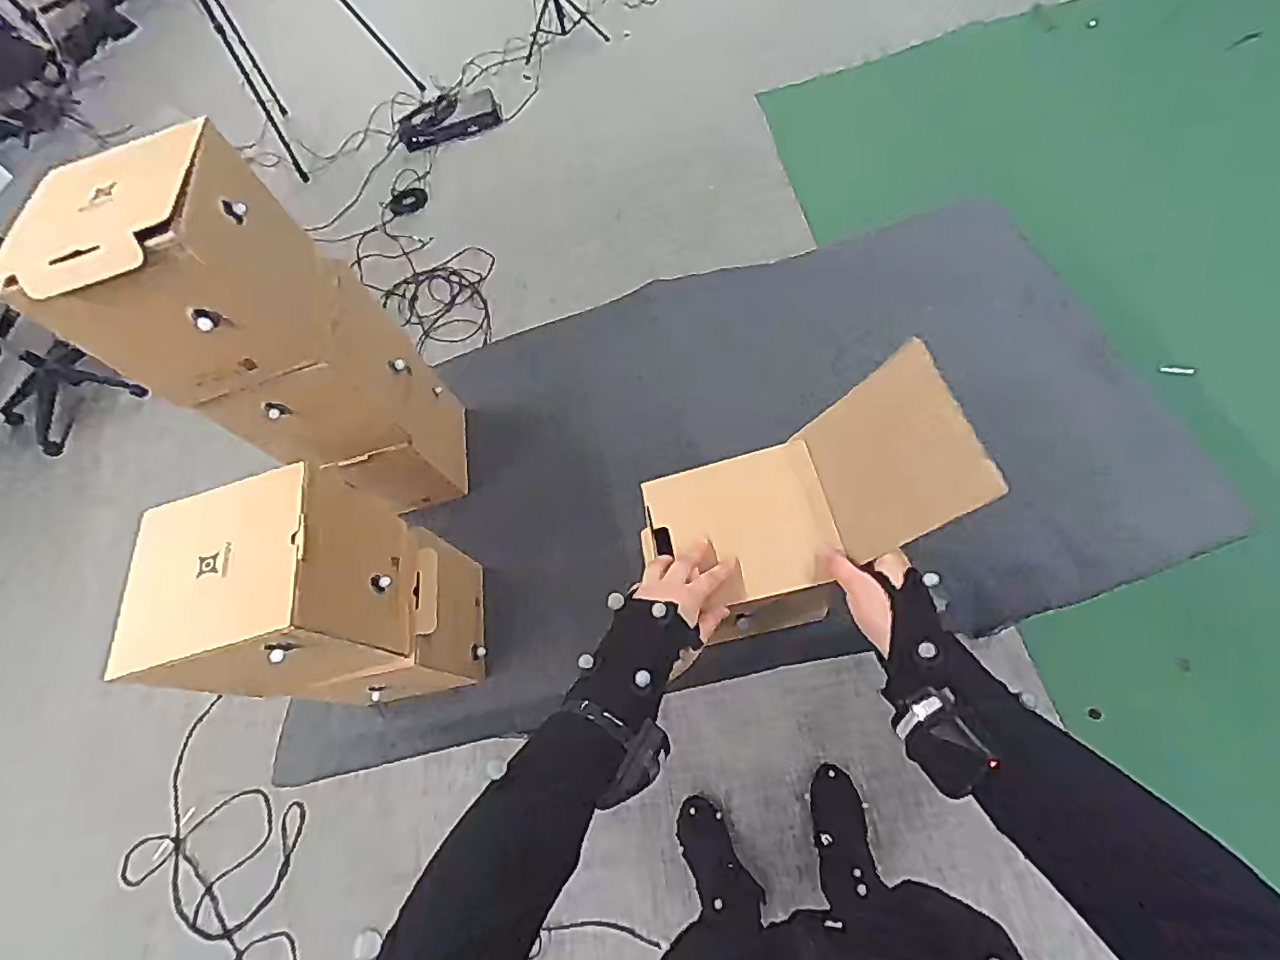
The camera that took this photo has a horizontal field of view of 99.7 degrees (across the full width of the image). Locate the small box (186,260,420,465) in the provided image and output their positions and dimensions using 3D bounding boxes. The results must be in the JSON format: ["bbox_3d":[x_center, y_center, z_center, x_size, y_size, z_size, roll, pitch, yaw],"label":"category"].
[{"bbox_3d":[-0.407,-0.136,0.684,0.179,0.176,0.168,-14,63,5],"label":"small box"}]

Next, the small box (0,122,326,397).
[{"bbox_3d":[-0.445,-0.205,0.542,0.168,0.176,0.179,-17,61,3],"label":"small box"}]

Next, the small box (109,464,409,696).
[{"bbox_3d":[-0.364,0.112,0.554,0.179,0.176,0.168,-17,62,4],"label":"small box"}]

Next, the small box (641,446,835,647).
[{"bbox_3d":[0.116,0.088,0.643,0.179,0.176,0.168,-15,61,7],"label":"small box"}]

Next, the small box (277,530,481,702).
[{"bbox_3d":[-0.316,0.182,0.694,0.179,0.176,0.168,-13,62,7],"label":"small box"}]
